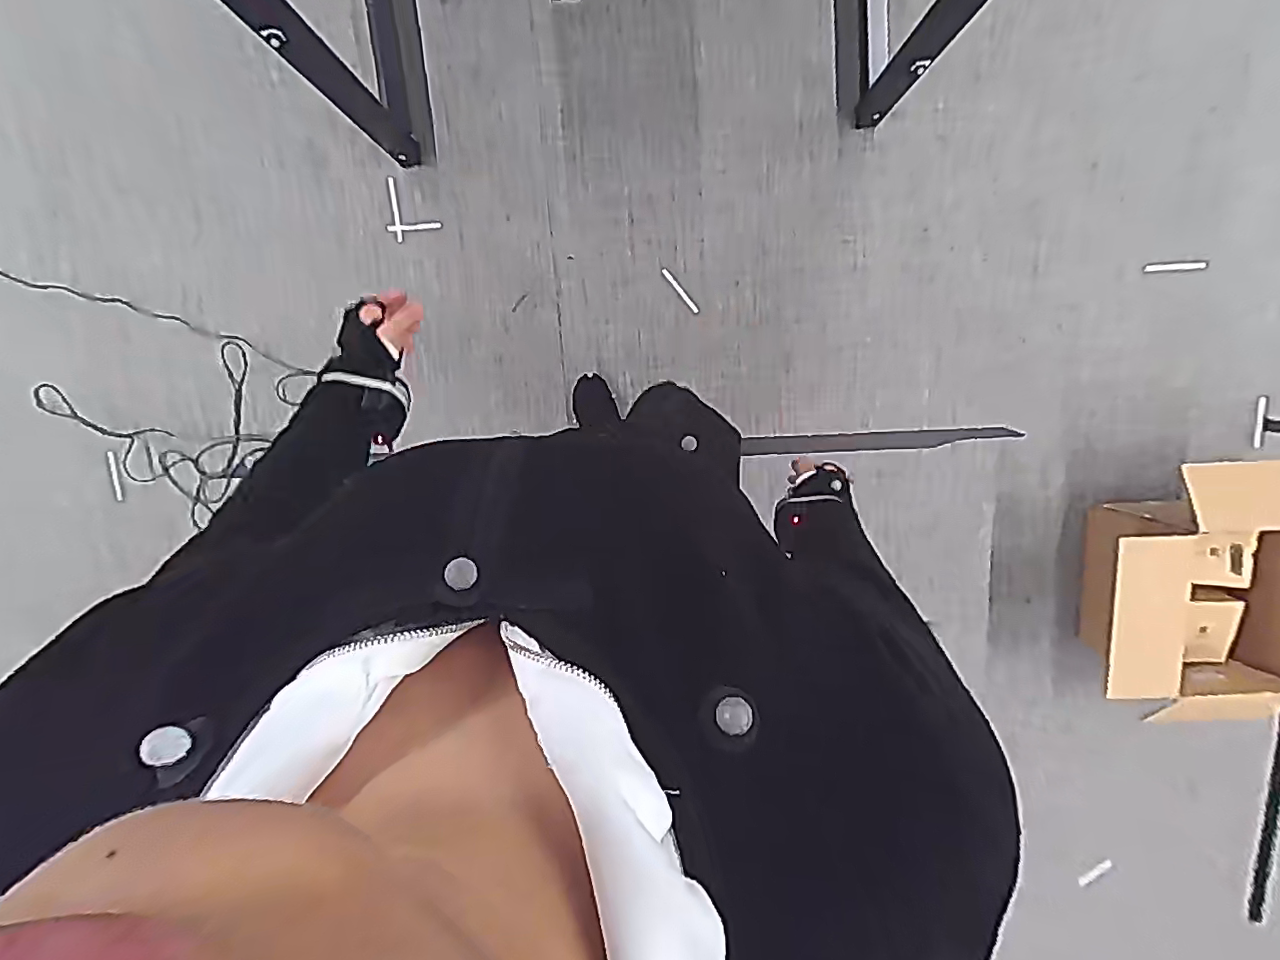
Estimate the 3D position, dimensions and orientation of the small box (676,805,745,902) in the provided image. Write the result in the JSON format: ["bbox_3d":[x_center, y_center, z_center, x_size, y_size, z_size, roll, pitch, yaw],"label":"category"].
[{"bbox_3d":[0.197,1.068,1.556,0.179,0.176,0.168,0,97,1],"label":"small box"}]
